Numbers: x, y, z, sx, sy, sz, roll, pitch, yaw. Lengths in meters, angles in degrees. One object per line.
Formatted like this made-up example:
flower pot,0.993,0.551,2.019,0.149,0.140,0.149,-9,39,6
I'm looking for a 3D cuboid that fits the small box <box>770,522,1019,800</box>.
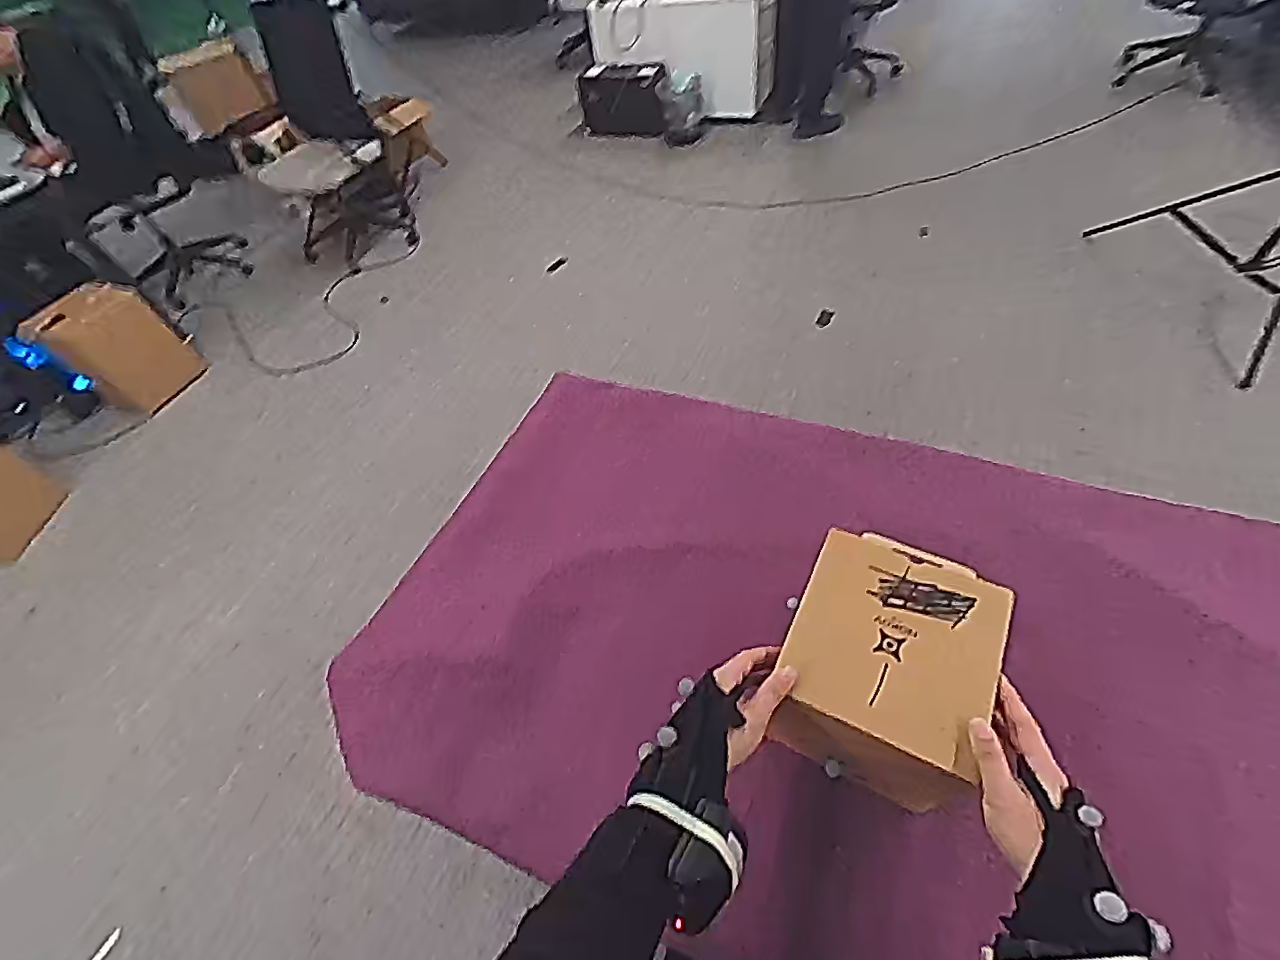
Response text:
small box,0.235,0.178,0.530,0.168,0.176,0.179,20,59,23
